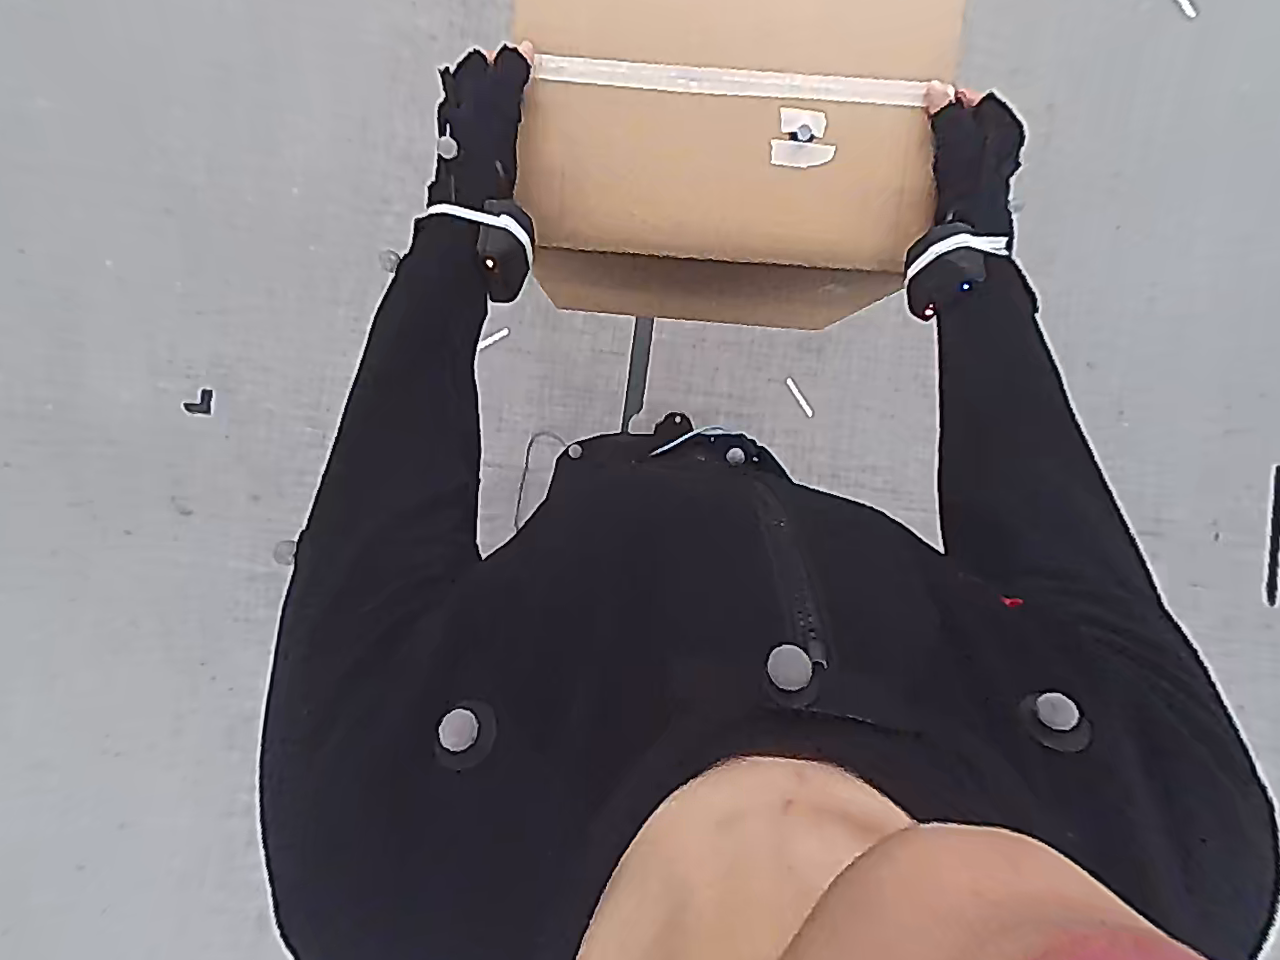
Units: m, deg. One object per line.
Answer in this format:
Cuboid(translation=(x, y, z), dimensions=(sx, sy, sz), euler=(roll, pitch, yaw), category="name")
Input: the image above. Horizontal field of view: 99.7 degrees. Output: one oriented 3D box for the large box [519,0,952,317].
Cuboid(translation=(0.084, -0.391, 0.656), dimensions=(0.408, 0.320, 0.320), euler=(4, 97, -1), category="large box")
